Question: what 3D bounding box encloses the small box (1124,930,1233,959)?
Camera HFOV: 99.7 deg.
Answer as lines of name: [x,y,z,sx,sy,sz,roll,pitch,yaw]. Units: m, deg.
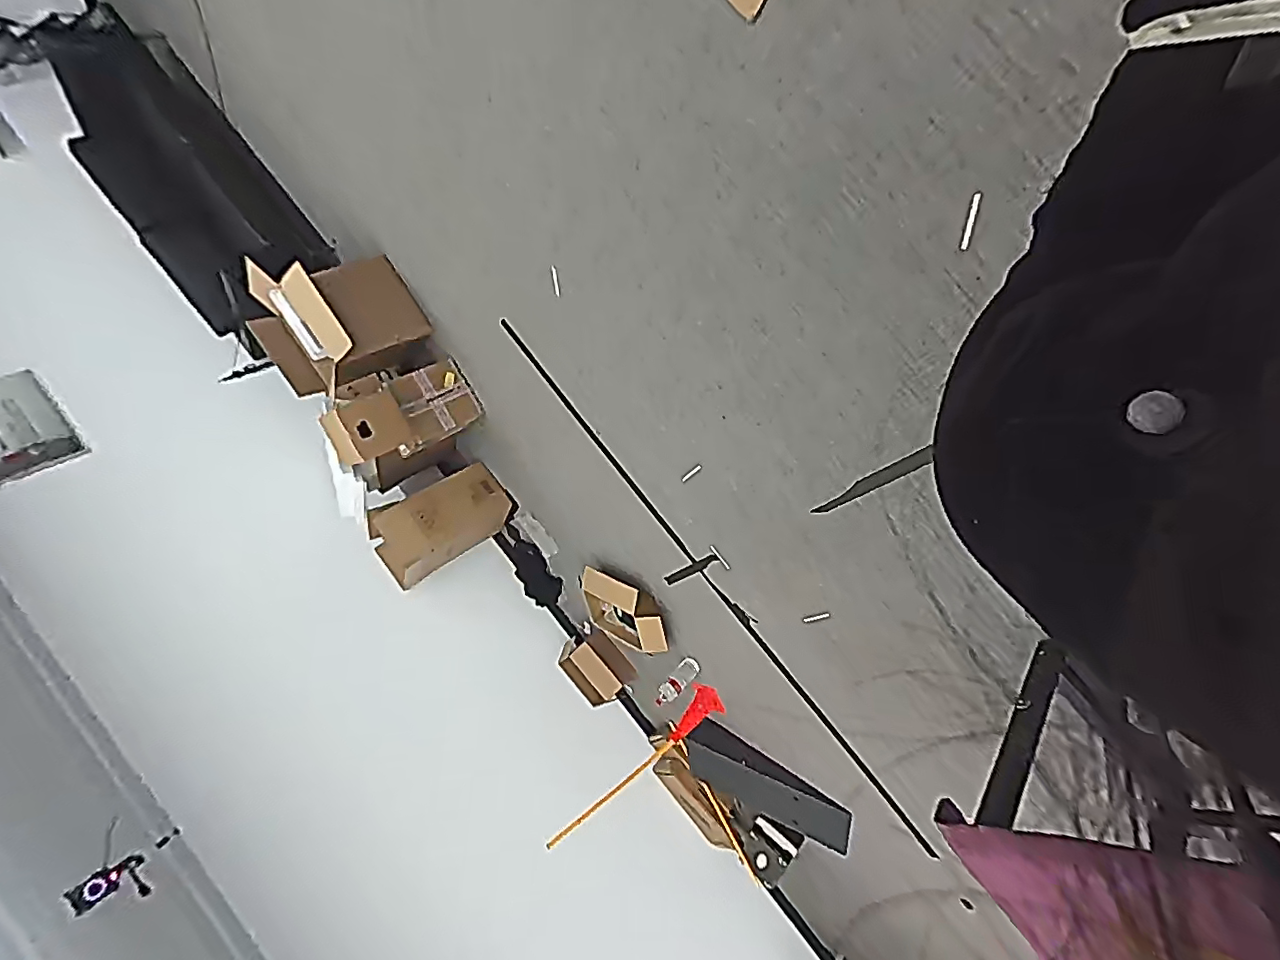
small box: [0.932,0.905,0.882,0.179,0.176,0.168,53,145,1]
